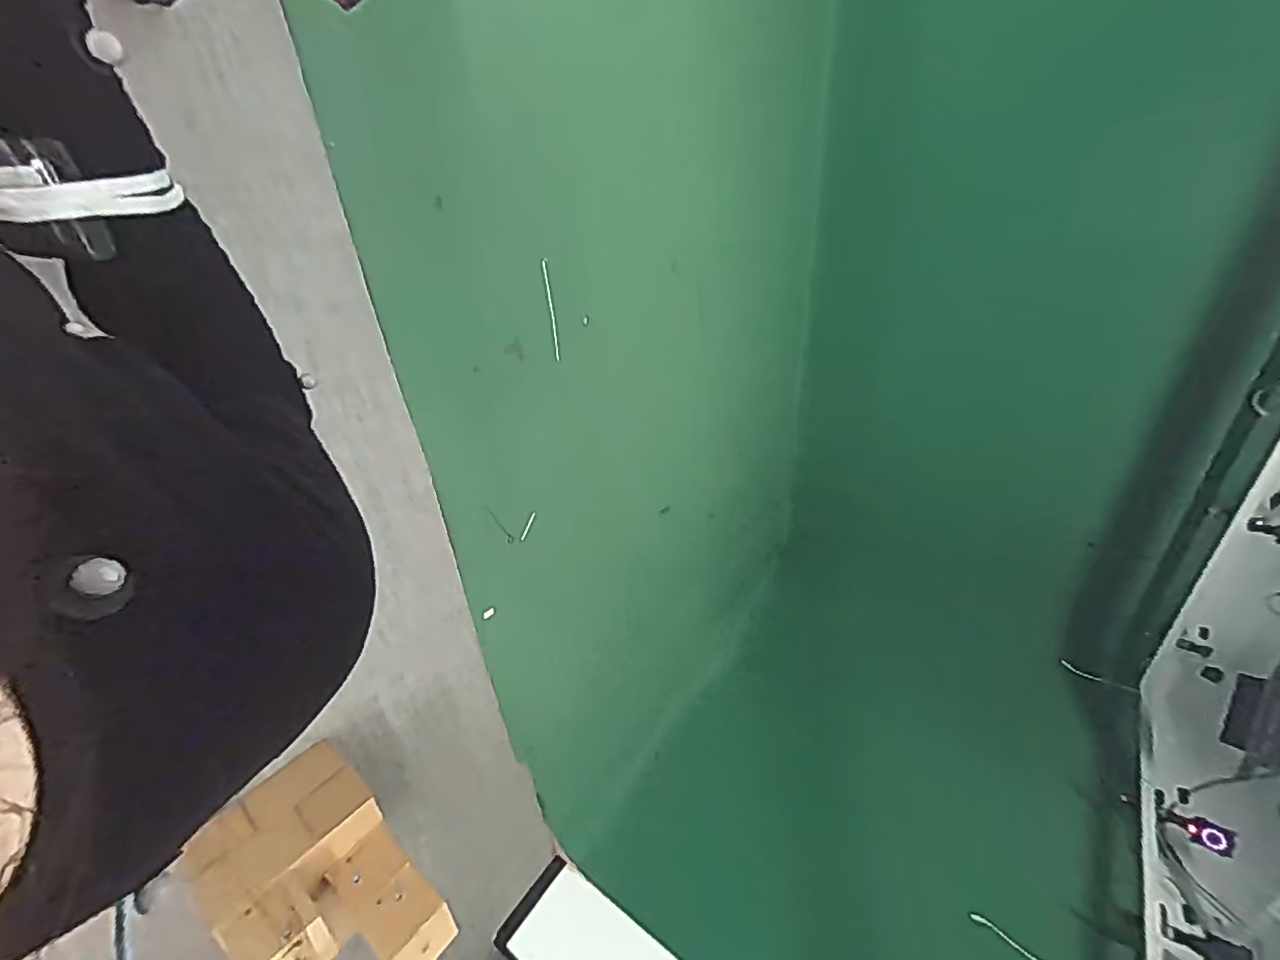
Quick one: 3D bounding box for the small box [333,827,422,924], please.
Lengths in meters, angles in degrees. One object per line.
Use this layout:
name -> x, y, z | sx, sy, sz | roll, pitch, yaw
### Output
small box -> -0.730, 1.125, 1.522 | 0.168, 0.176, 0.179 | -33, 132, -44

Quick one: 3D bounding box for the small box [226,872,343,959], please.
small box -> -0.864, 1.115, 1.317 | 0.168, 0.176, 0.179 | -31, 130, -45

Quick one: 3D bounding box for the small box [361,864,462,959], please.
small box -> -0.603, 1.174, 1.431 | 0.168, 0.176, 0.179 | -33, 130, -44
